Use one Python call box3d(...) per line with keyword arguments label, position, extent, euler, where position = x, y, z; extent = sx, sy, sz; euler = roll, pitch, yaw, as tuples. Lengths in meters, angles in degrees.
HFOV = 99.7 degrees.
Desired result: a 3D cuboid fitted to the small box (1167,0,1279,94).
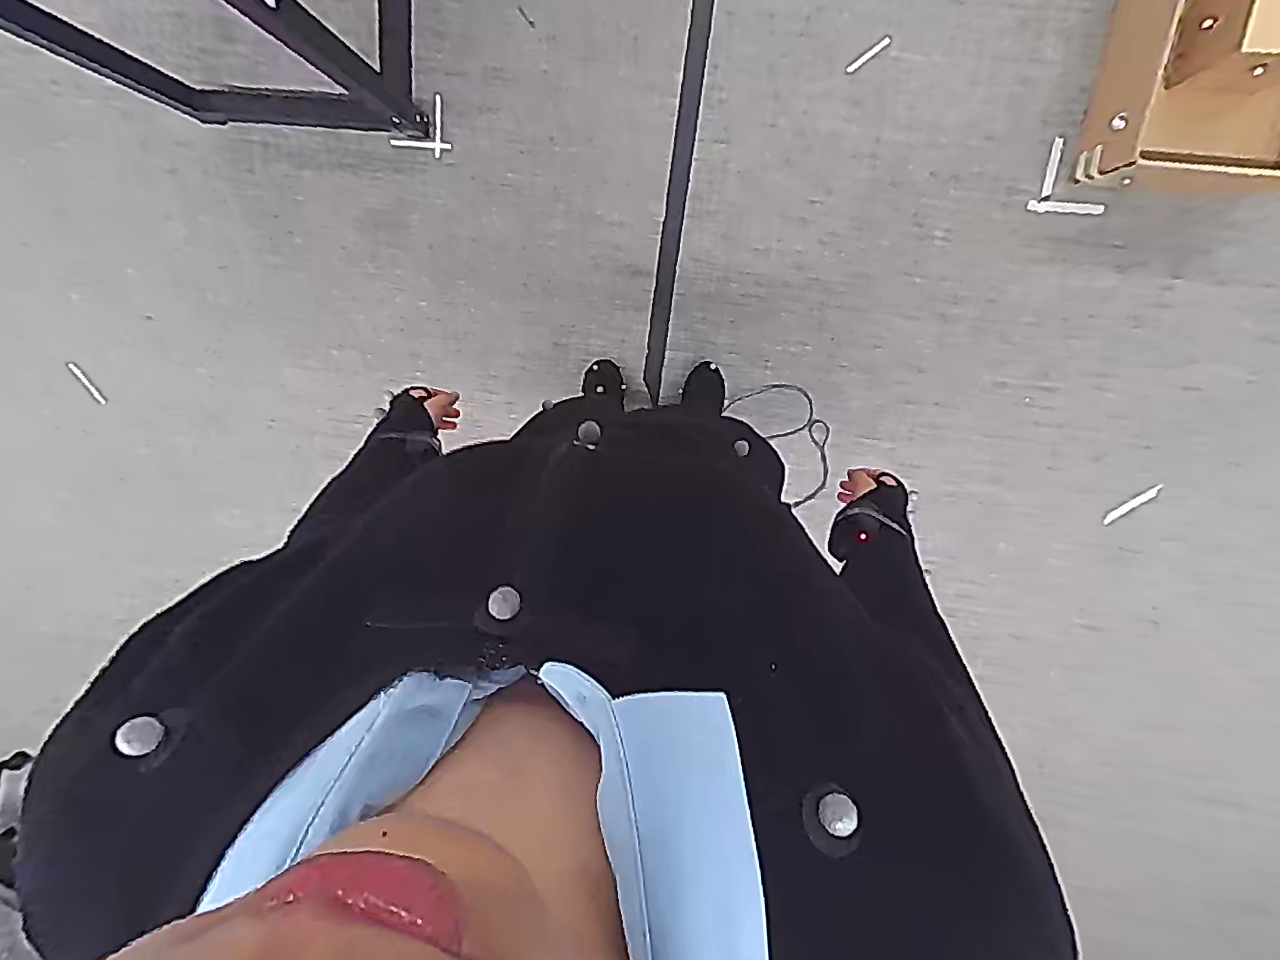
box3d(label="small box", position=(1.216, -0.893, 1.068), extent=(0.179, 0.176, 0.168), euler=(6, 105, 3))
